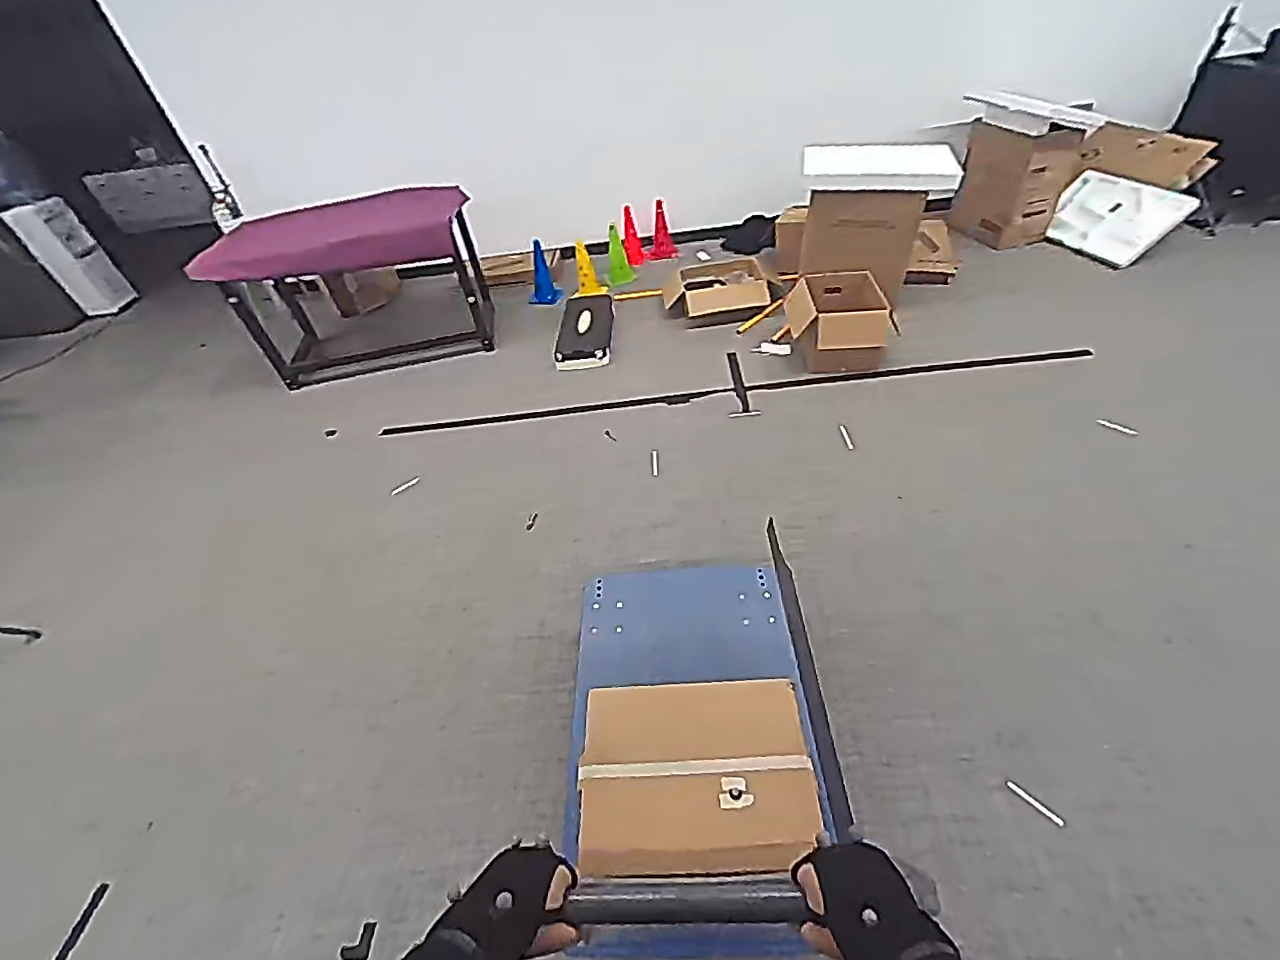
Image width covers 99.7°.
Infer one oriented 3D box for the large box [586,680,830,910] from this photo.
[{"bbox_3d":[0.116,0.628,1.076,0.408,0.320,0.320,-5,44,3],"label":"large box"}]
